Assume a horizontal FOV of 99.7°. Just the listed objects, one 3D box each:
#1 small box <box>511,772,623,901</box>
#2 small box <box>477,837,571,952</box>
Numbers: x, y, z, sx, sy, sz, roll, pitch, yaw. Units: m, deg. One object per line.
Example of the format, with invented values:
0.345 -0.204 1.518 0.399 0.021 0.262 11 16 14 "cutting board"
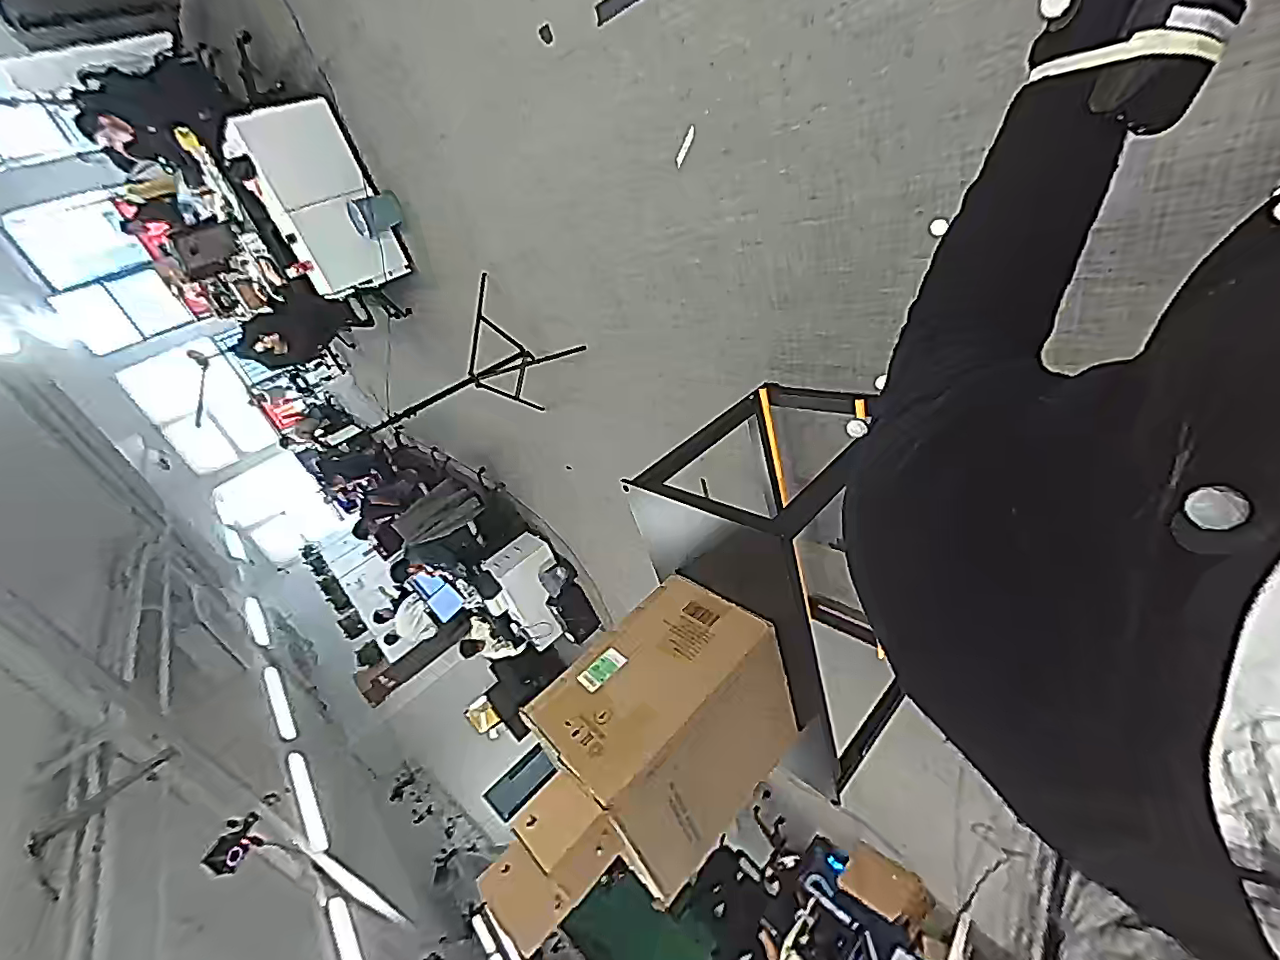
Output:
-0.172 0.845 1.303 0.179 0.176 0.168 16 137 48 "small box"
-0.309 1.116 1.480 0.179 0.176 0.168 21 140 46 "small box"
